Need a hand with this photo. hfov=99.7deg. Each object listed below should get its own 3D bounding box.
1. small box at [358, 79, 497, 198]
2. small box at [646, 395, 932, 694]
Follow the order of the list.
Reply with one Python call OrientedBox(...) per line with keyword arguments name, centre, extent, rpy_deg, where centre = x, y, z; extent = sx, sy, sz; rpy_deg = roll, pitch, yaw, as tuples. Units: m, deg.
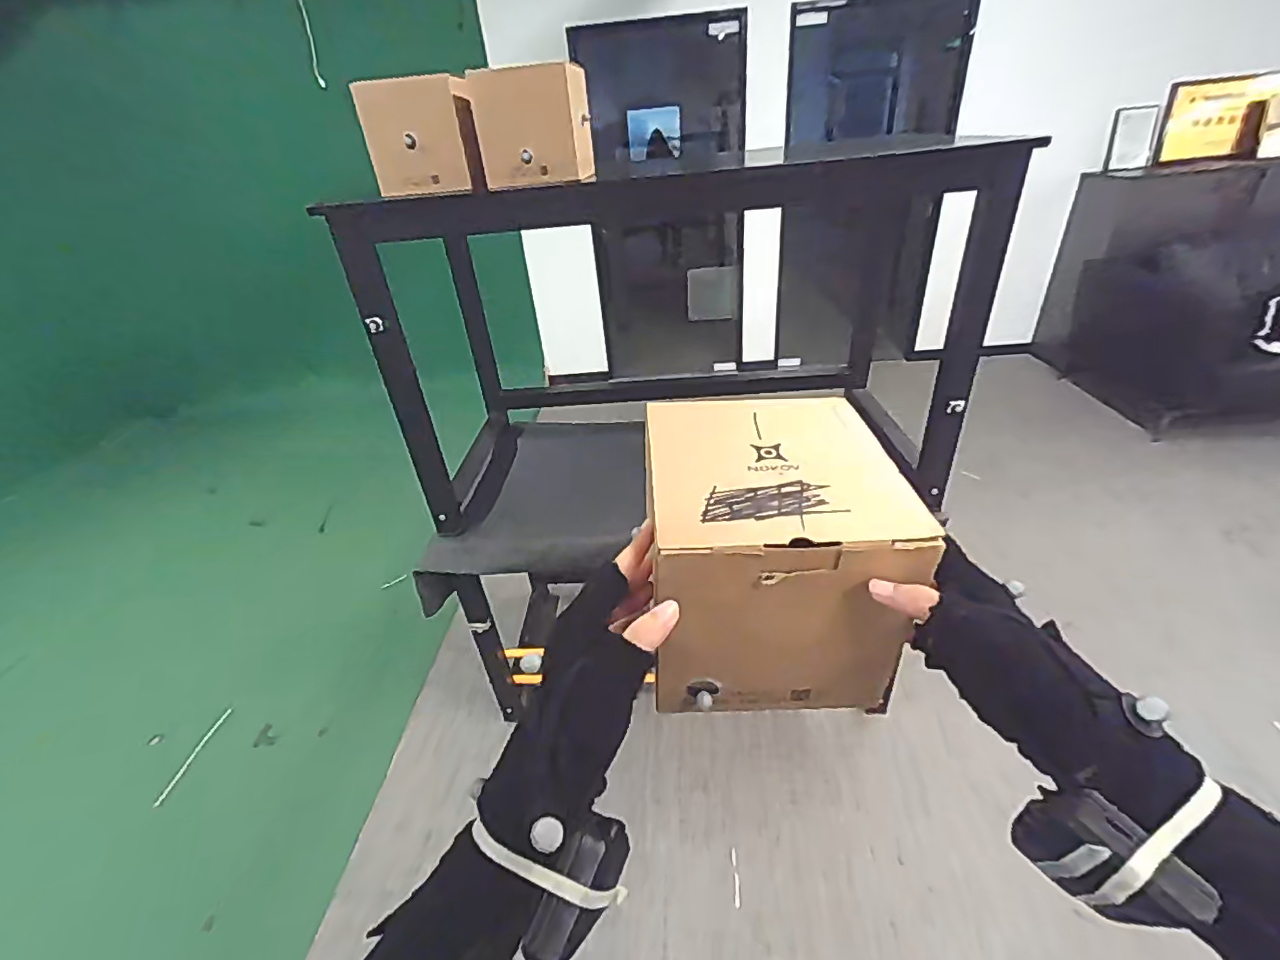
OrientedBox(name="small box", centre=(-0.373, -0.618, 0.990), extent=(0.168, 0.176, 0.179), rpy_deg=(-2, 32, 4))
OrientedBox(name="small box", centre=(0.090, 0.050, 0.424), extent=(0.168, 0.176, 0.179), rpy_deg=(-1, 35, -1))
